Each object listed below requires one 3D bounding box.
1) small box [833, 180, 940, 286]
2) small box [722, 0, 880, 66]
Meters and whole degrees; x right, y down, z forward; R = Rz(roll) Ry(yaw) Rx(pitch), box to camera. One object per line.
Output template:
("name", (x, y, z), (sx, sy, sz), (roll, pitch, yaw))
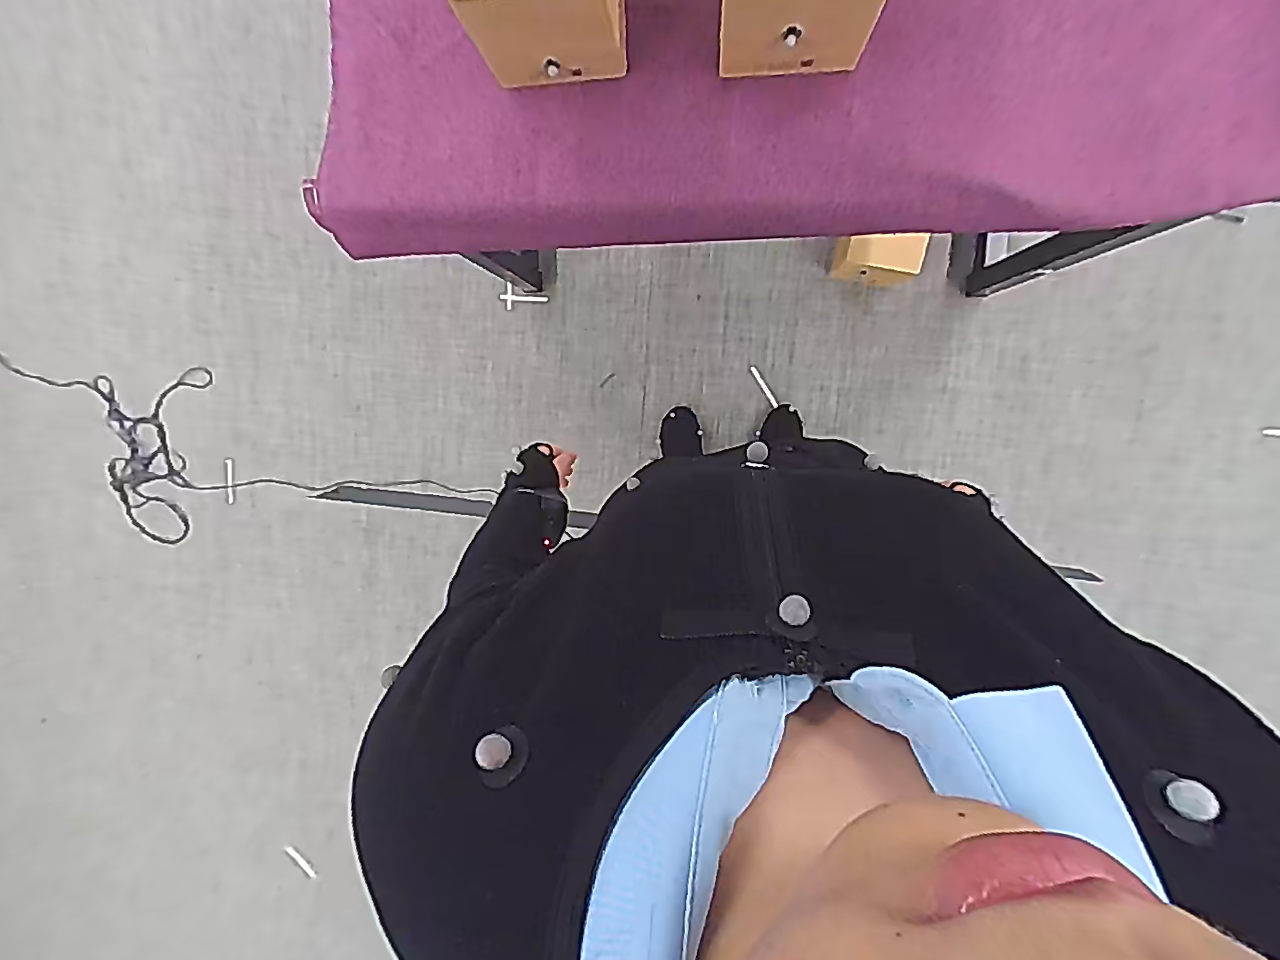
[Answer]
("small box", (0.570, -0.574, 1.280), (0.168, 0.176, 0.179), (13, 99, 5))
("small box", (0.177, -0.582, 0.581), (0.168, 0.176, 0.179), (2, 98, 6))
